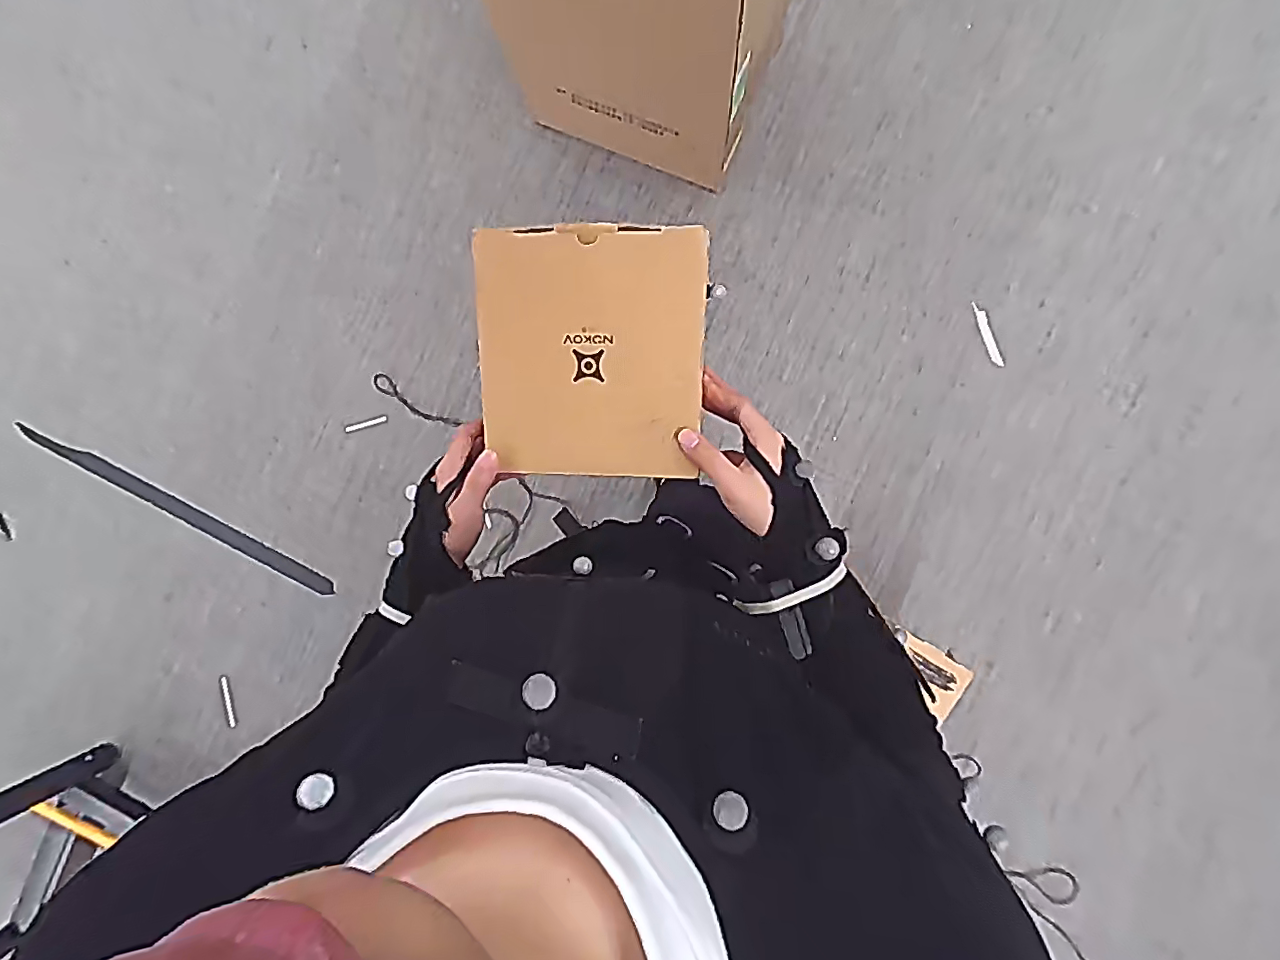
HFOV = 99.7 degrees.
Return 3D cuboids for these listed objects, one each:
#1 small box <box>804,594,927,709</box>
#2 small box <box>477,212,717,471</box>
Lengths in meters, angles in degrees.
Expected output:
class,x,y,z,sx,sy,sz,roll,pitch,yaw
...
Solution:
class,x,y,z,sx,sy,sz,roll,pitch,yaw
small box,0.507,0.381,1.241,0.179,0.176,0.168,32,92,5
small box,-0.023,-0.113,0.457,0.168,0.176,0.179,2,104,5
